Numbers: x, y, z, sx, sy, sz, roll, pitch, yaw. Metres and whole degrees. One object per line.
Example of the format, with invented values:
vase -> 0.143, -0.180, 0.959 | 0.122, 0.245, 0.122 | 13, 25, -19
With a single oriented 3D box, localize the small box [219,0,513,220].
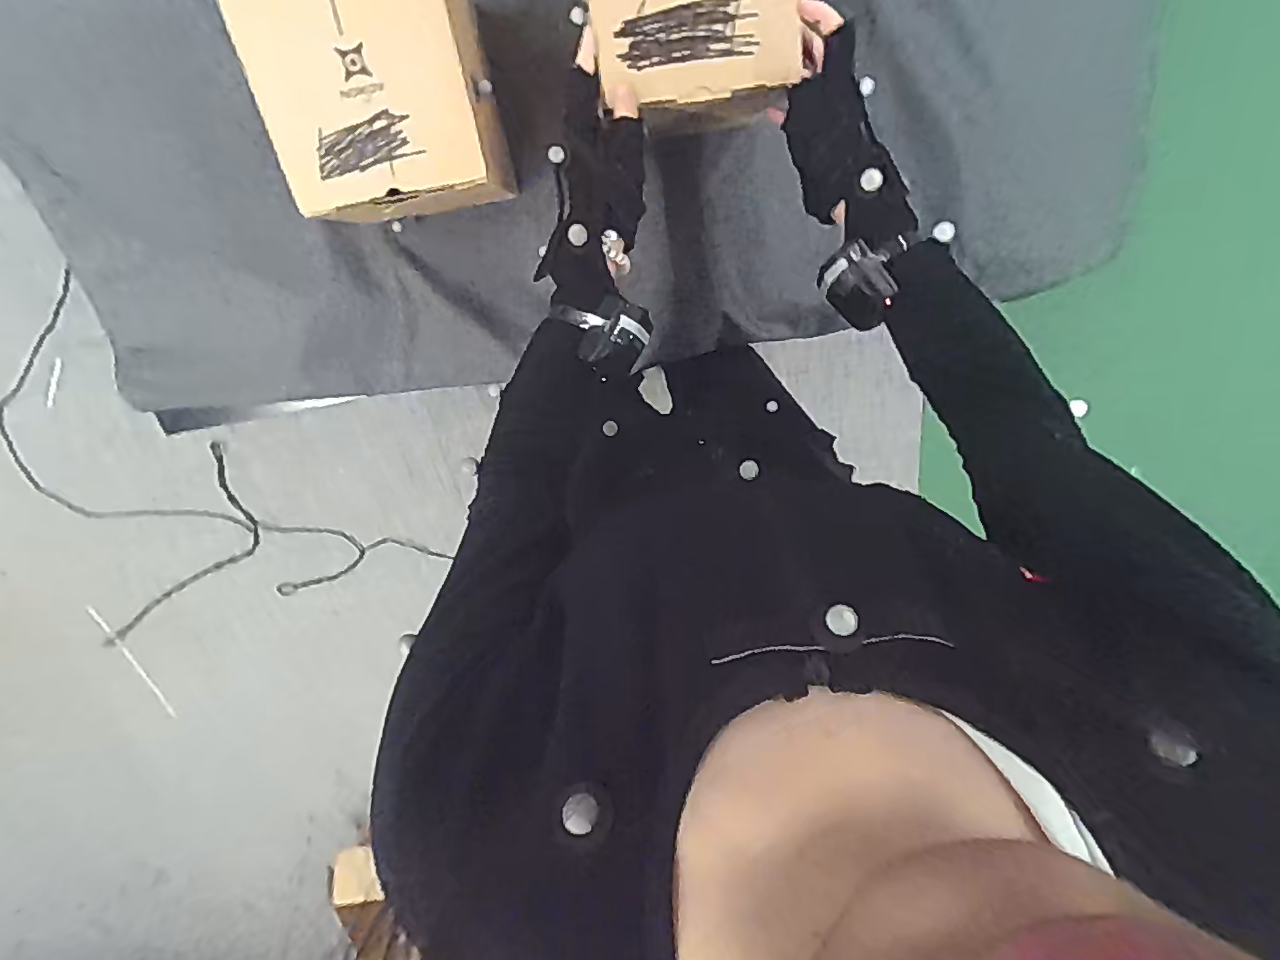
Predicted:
small box -> -0.226, -0.346, 0.499 | 0.168, 0.176, 0.179 | -10, 113, 1
